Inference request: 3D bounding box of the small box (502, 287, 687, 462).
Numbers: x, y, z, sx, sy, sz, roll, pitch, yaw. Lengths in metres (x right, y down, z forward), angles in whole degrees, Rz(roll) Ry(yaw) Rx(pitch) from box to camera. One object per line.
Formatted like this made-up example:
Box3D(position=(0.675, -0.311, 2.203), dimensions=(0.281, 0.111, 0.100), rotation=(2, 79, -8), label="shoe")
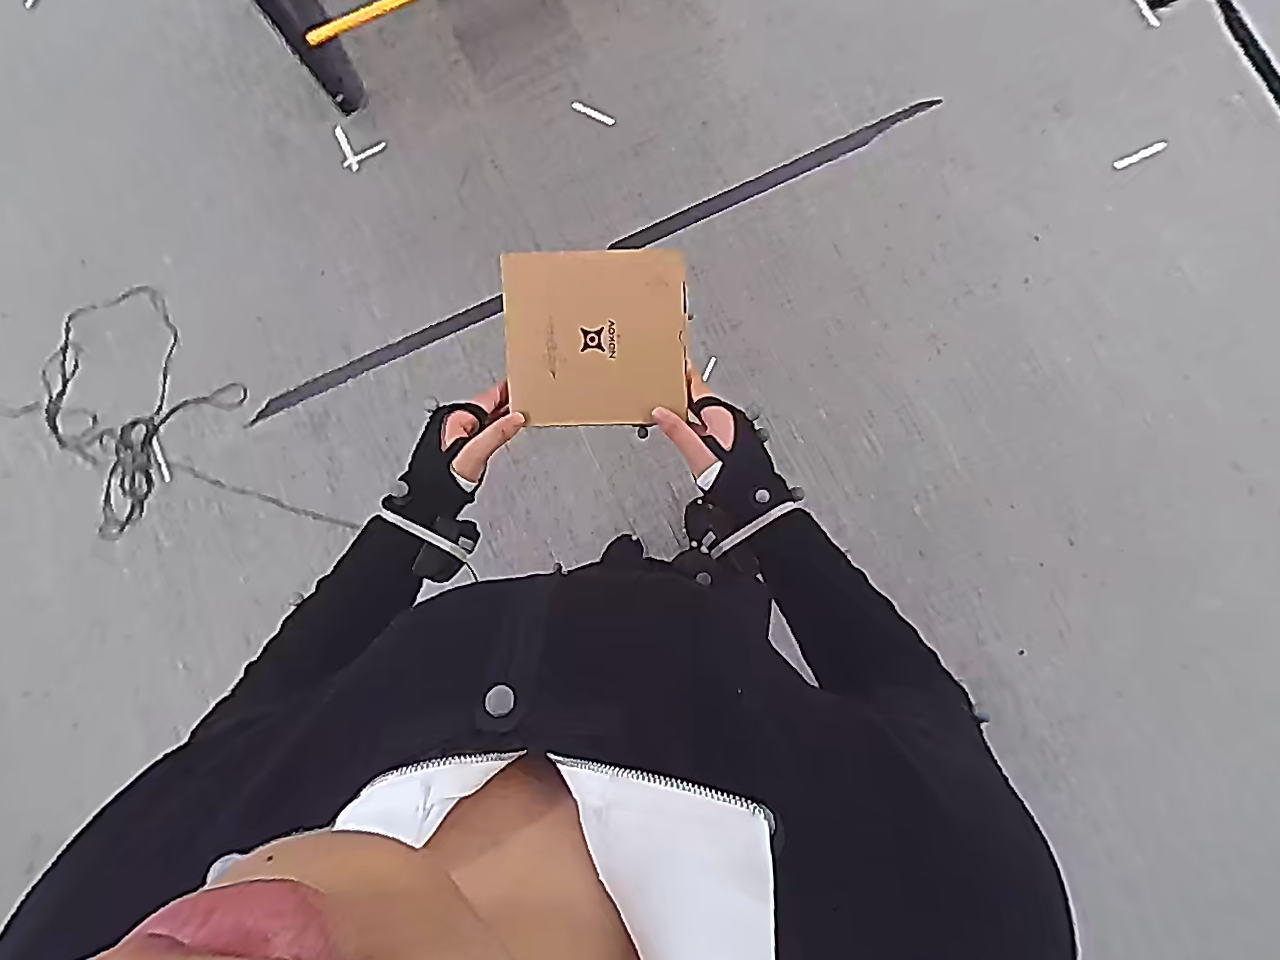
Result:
Box3D(position=(-0.045, -0.110, 0.609), dimensions=(0.179, 0.176, 0.168), rotation=(-3, 95, 0), label="small box")
